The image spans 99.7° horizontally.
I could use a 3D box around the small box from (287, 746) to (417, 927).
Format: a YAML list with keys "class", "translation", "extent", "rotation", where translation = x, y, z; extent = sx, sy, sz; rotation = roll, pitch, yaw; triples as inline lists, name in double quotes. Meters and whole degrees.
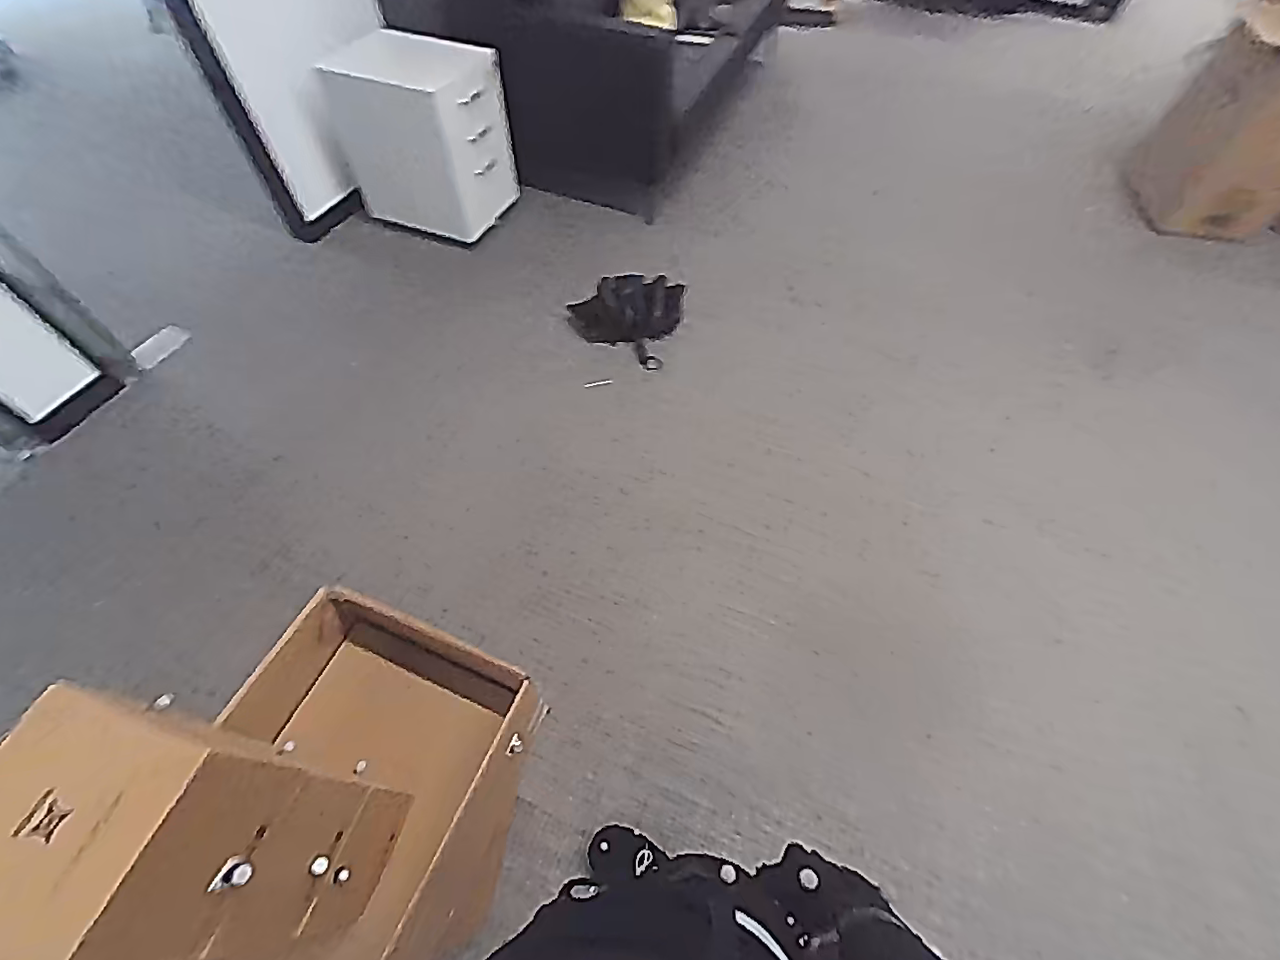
- class: "small box"
  translation: [-0.455, 0.492, 0.763]
  extent: [0.179, 0.176, 0.168]
  rotation: [13, 59, 10]

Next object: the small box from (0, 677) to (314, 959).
- class: "small box"
  translation: [-0.456, 0.305, 0.497]
  extent: [0.179, 0.176, 0.168]
  rotation: [15, 59, 9]

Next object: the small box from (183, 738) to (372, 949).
- class: "small box"
  translation: [-0.458, 0.399, 0.628]
  extent: [0.179, 0.176, 0.168]
  rotation: [15, 58, 10]
